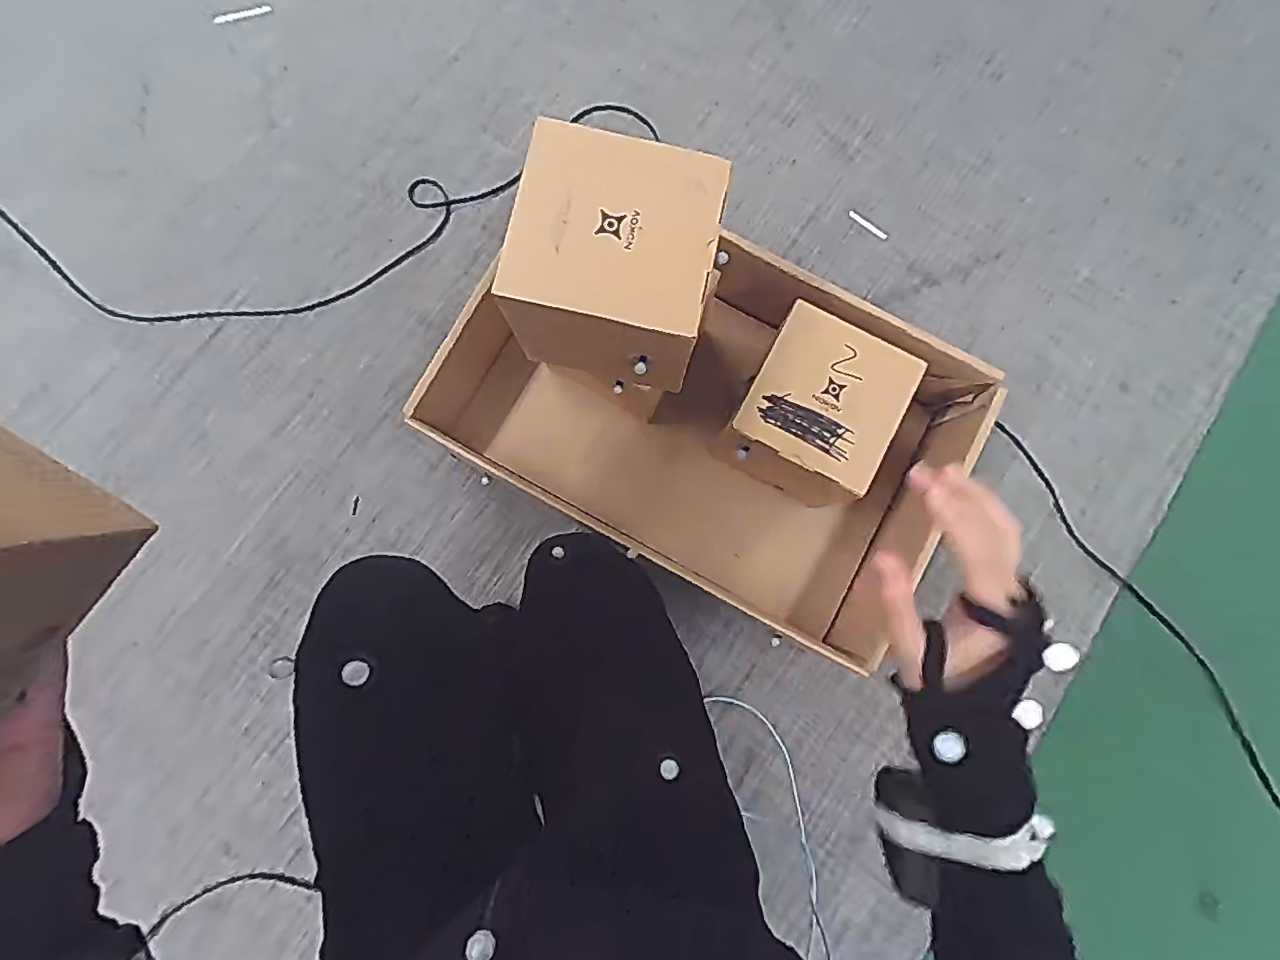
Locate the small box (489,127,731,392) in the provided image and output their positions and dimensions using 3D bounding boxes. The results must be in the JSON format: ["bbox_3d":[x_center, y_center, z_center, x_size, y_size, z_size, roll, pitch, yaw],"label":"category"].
[{"bbox_3d":[-0.025,-0.197,0.535,0.179,0.176,0.168,13,84,1],"label":"small box"}]

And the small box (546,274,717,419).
[{"bbox_3d":[-0.027,-0.196,0.698,0.179,0.176,0.168,30,84,1],"label":"small box"}]

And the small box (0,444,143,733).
[{"bbox_3d":[-0.349,0.047,0.180,0.179,0.176,0.168,38,85,-10],"label":"small box"}]
